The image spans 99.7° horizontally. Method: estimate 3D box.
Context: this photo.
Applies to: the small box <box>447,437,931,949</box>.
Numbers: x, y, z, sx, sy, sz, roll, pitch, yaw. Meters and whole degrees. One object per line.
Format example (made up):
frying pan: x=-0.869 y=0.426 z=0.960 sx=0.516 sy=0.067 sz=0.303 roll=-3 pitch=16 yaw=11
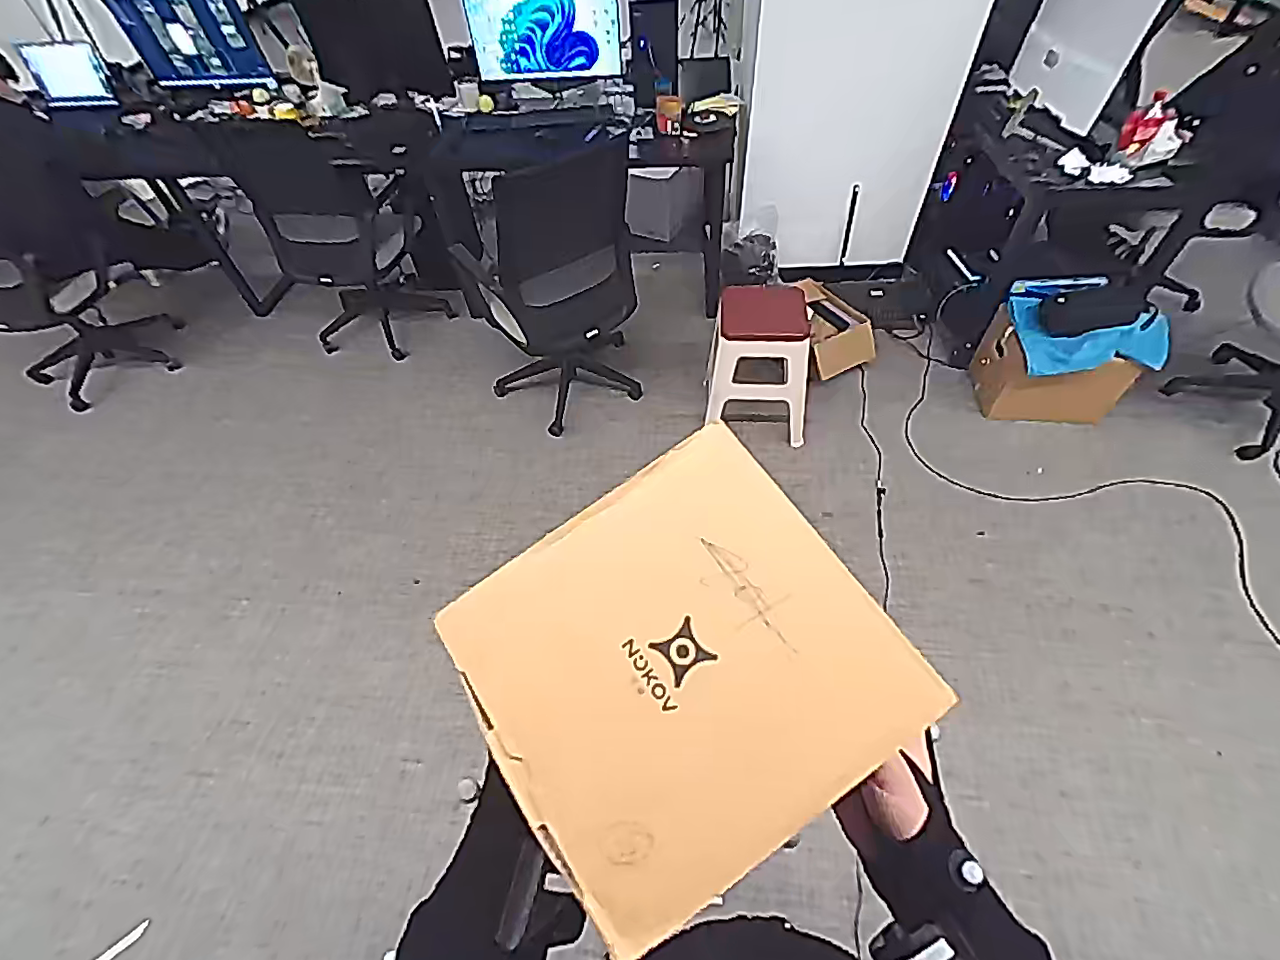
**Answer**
small box: x=0.024 y=0.111 z=0.331 sx=0.179 sy=0.176 sz=0.168 roll=-35 pitch=72 yaw=-7
